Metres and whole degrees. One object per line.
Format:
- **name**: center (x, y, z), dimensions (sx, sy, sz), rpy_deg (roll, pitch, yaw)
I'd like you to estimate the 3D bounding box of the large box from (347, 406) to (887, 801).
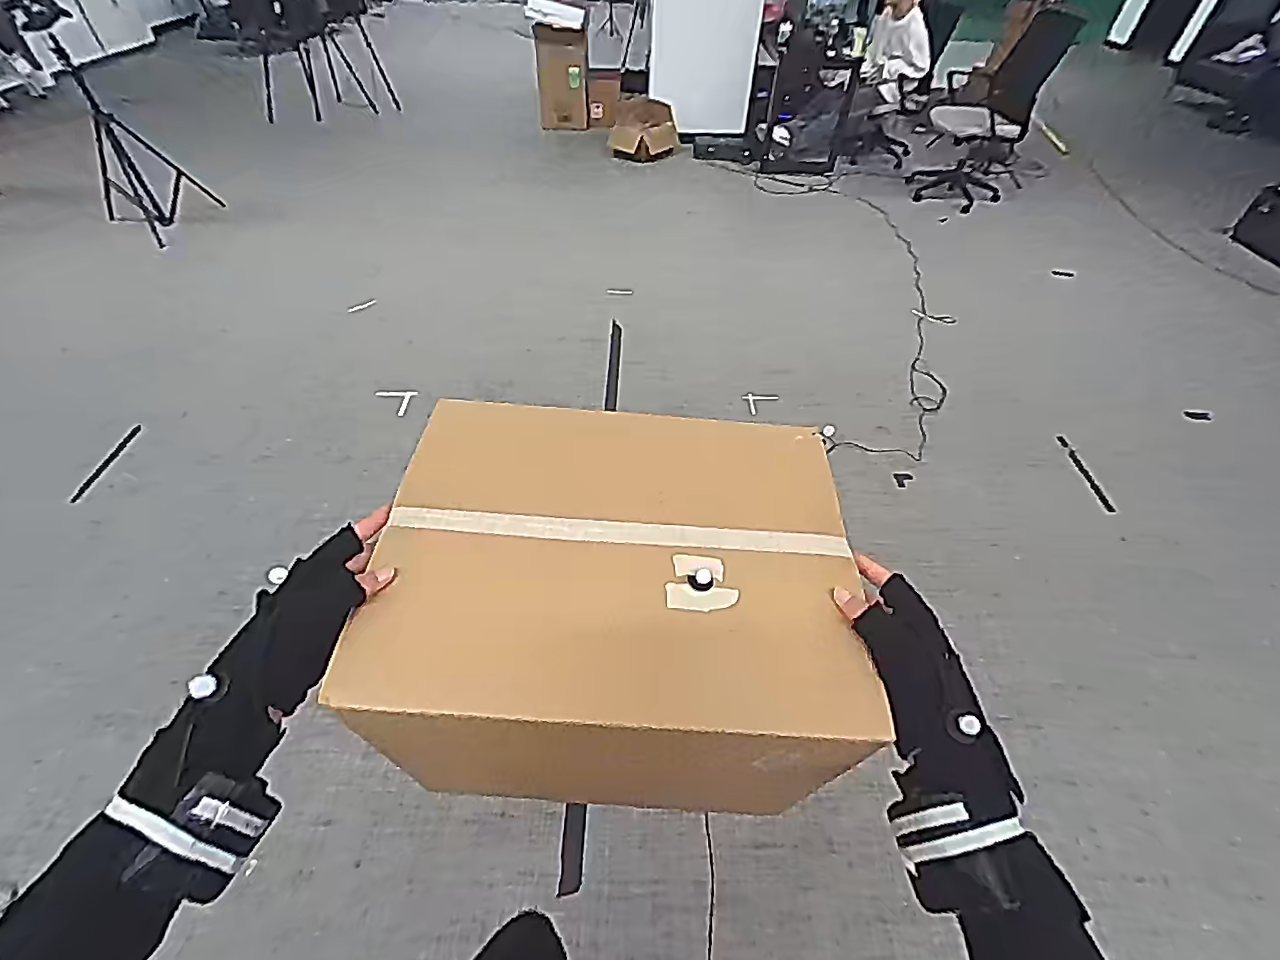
- **large box**: center (-0.022, 0.145, 0.598), dimensions (0.408, 0.320, 0.320), rpy_deg (5, 50, -2)
